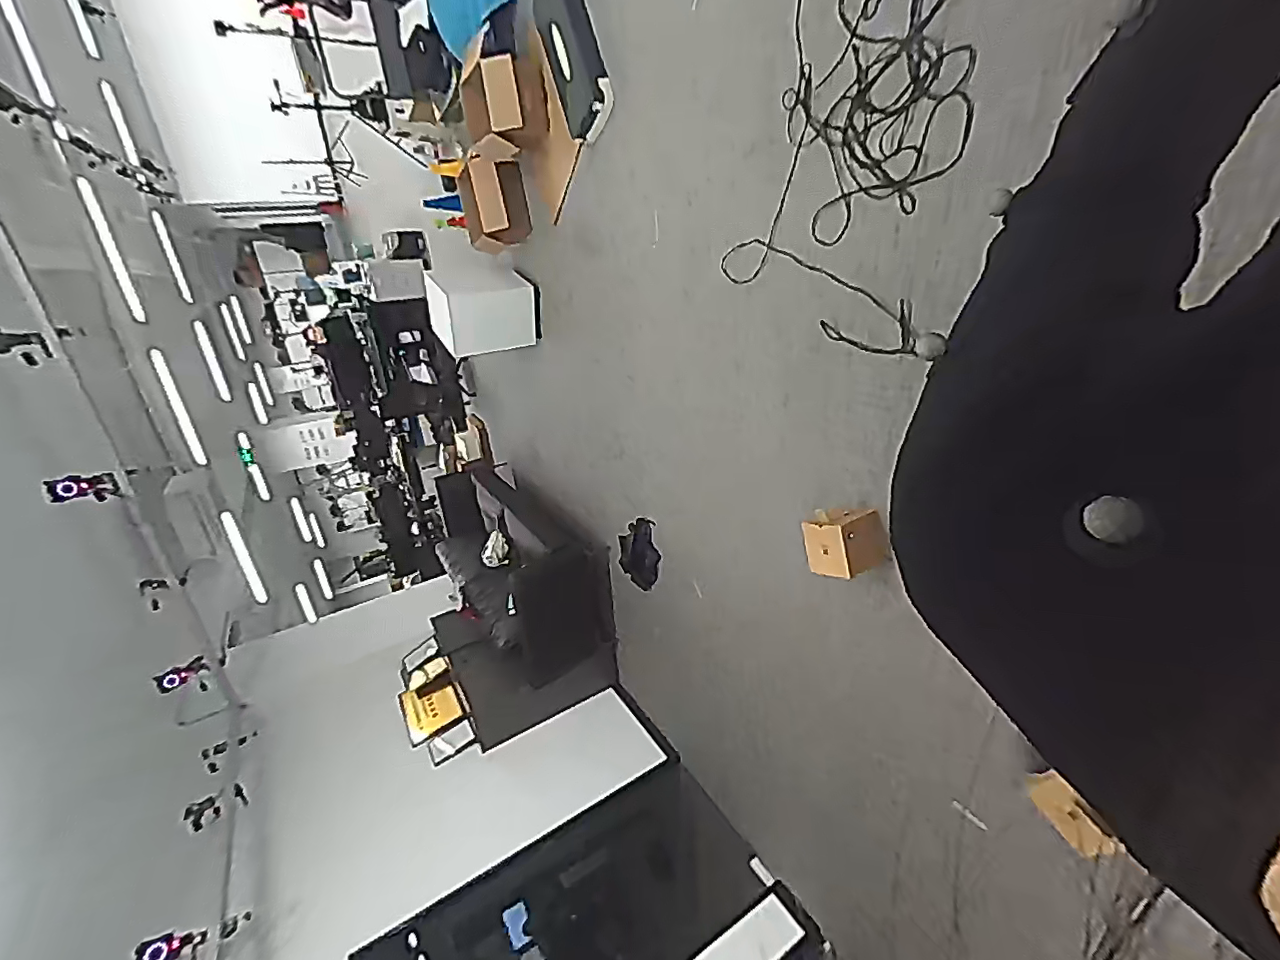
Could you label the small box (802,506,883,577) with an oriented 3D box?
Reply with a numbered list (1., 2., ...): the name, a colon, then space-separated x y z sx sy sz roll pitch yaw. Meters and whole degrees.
1. small box: 0.662 0.194 1.759 0.168 0.176 0.179 -1 104 61
